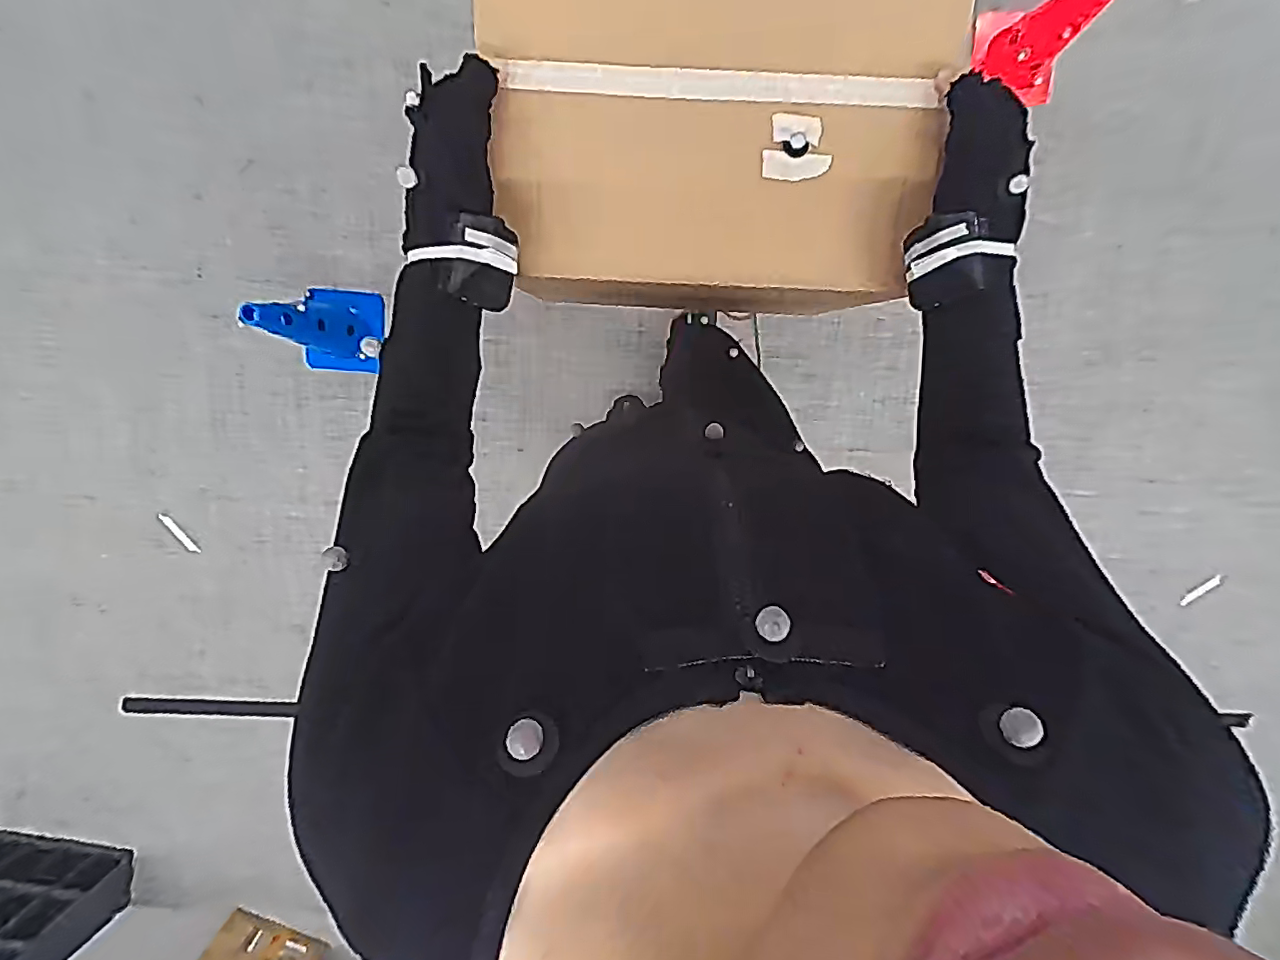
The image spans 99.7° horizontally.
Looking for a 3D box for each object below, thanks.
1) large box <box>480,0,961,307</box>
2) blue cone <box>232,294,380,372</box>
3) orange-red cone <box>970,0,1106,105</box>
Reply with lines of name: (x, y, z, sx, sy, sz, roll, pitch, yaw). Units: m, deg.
large box: (0.061, -0.371, 0.602, 0.408, 0.320, 0.320, 2, 104, -2)
blue cone: (-0.764, -0.348, 1.229, 0.192, 0.380, 0.193, 6, 100, -1)
orange-red cone: (0.904, -0.989, 1.134, 0.198, 0.360, 0.199, 0, 99, -2)
